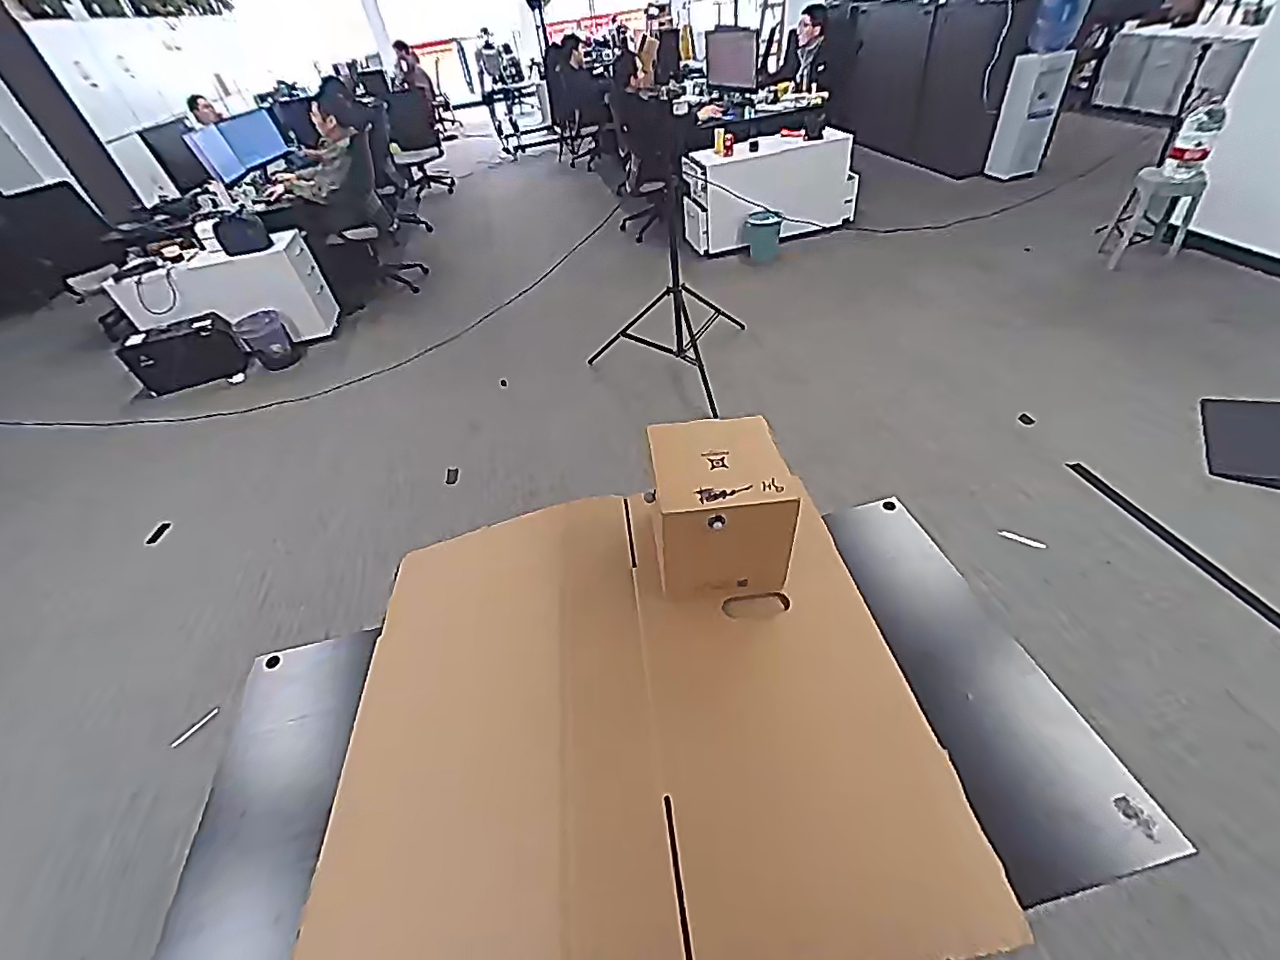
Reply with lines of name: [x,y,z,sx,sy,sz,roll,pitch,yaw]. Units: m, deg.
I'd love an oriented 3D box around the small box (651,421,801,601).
small box: [0.105,0.041,0.741,0.168,0.176,0.179,-6,40,-1]
